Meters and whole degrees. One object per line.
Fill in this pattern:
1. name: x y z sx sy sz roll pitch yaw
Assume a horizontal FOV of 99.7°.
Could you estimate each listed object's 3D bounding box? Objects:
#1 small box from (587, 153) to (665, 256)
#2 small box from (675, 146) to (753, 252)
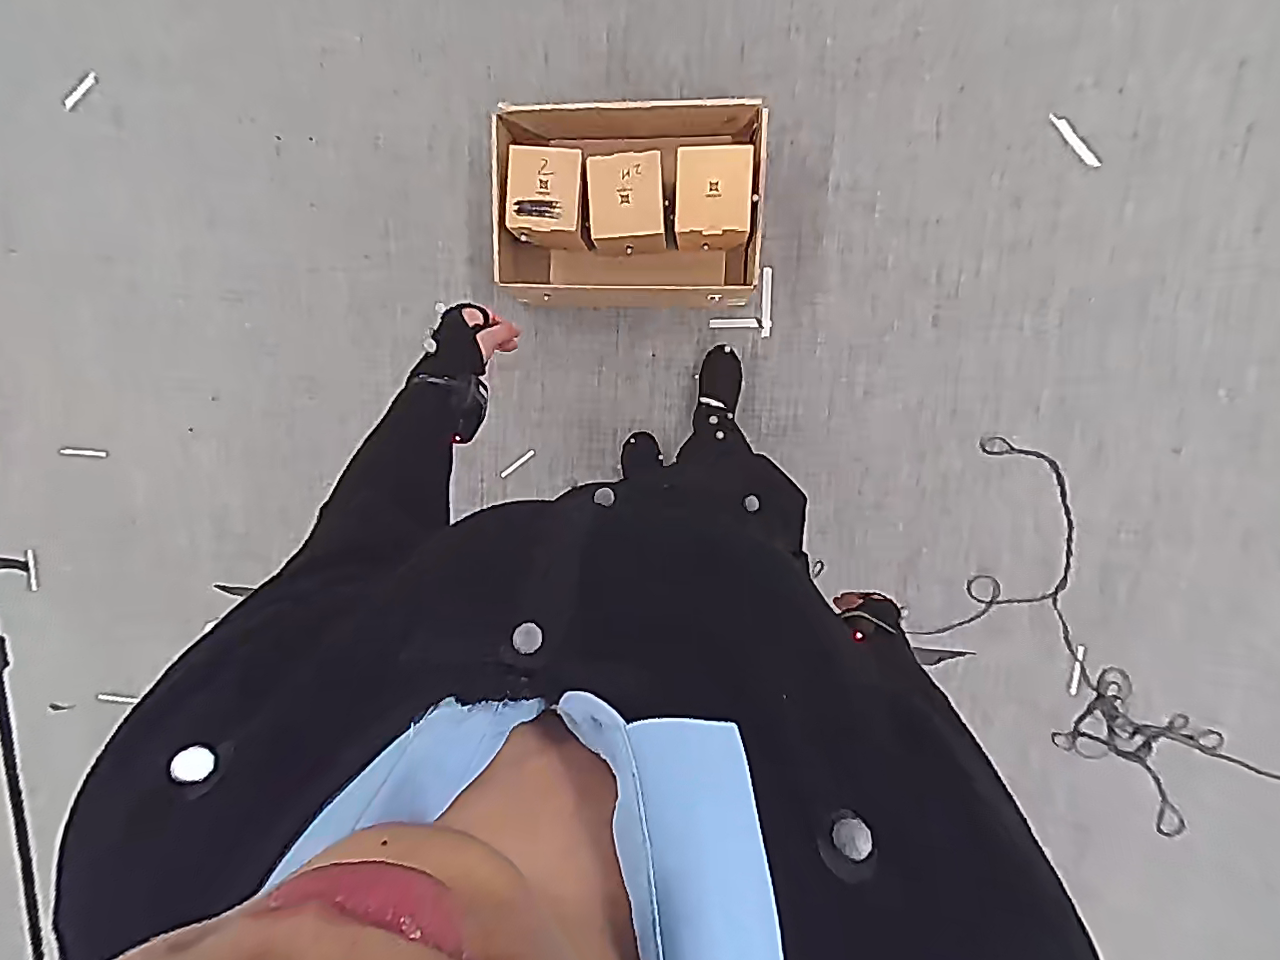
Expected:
1. small box: -0.027 -0.638 1.275 0.168 0.176 0.179 -2 98 4
2. small box: 0.168 -0.643 1.255 0.168 0.176 0.179 2 99 7
